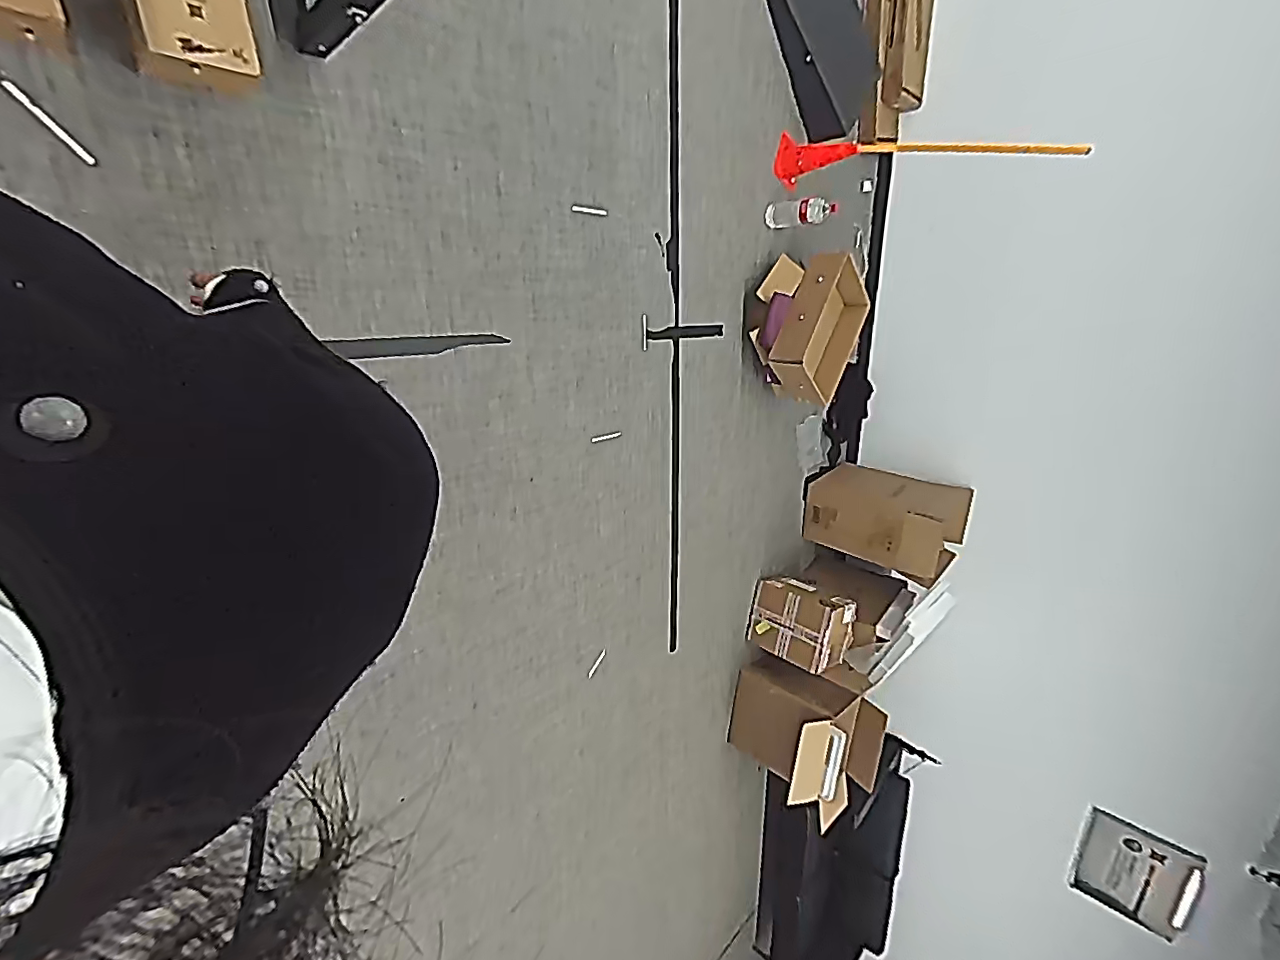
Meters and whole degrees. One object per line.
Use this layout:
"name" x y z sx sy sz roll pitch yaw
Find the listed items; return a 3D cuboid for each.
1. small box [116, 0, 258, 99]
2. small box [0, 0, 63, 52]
"small box" -0.842 -0.844 0.999 0.168 0.176 0.179 -19 115 -42
"small box" -1.026 -0.788 0.820 0.179 0.176 0.168 -19 114 -42
